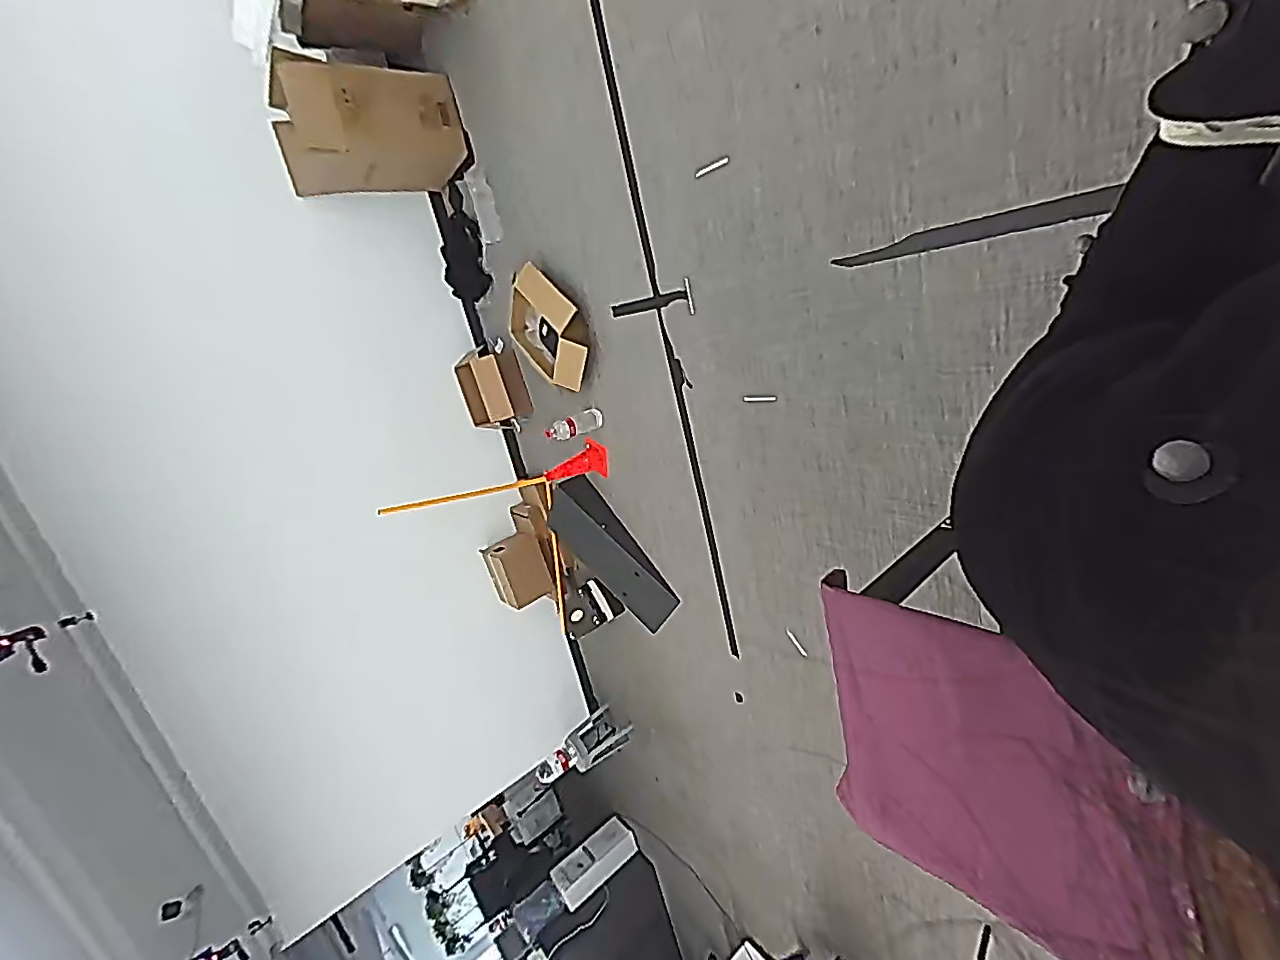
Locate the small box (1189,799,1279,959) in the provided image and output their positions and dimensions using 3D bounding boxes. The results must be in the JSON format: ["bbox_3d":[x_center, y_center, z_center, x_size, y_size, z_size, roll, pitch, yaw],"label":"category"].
[{"bbox_3d":[0.741,0.510,0.595,0.168,0.176,0.179,12,120,50],"label":"small box"}]
